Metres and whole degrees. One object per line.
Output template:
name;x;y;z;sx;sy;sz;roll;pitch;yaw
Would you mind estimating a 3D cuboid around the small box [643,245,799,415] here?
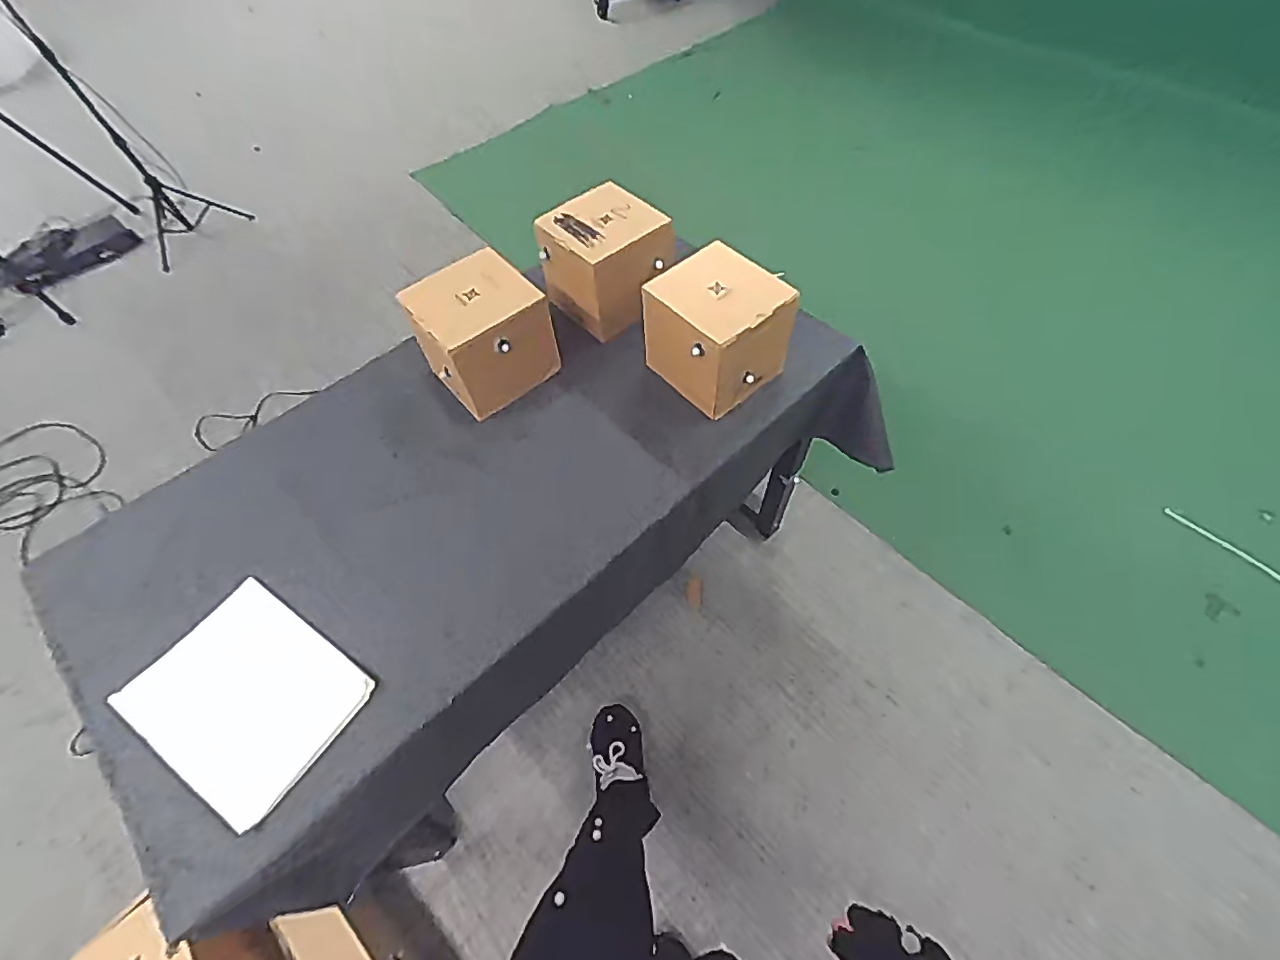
small box;0.121;-0.238;0.875;0.168;0.176;0.179;-36;64;-19
